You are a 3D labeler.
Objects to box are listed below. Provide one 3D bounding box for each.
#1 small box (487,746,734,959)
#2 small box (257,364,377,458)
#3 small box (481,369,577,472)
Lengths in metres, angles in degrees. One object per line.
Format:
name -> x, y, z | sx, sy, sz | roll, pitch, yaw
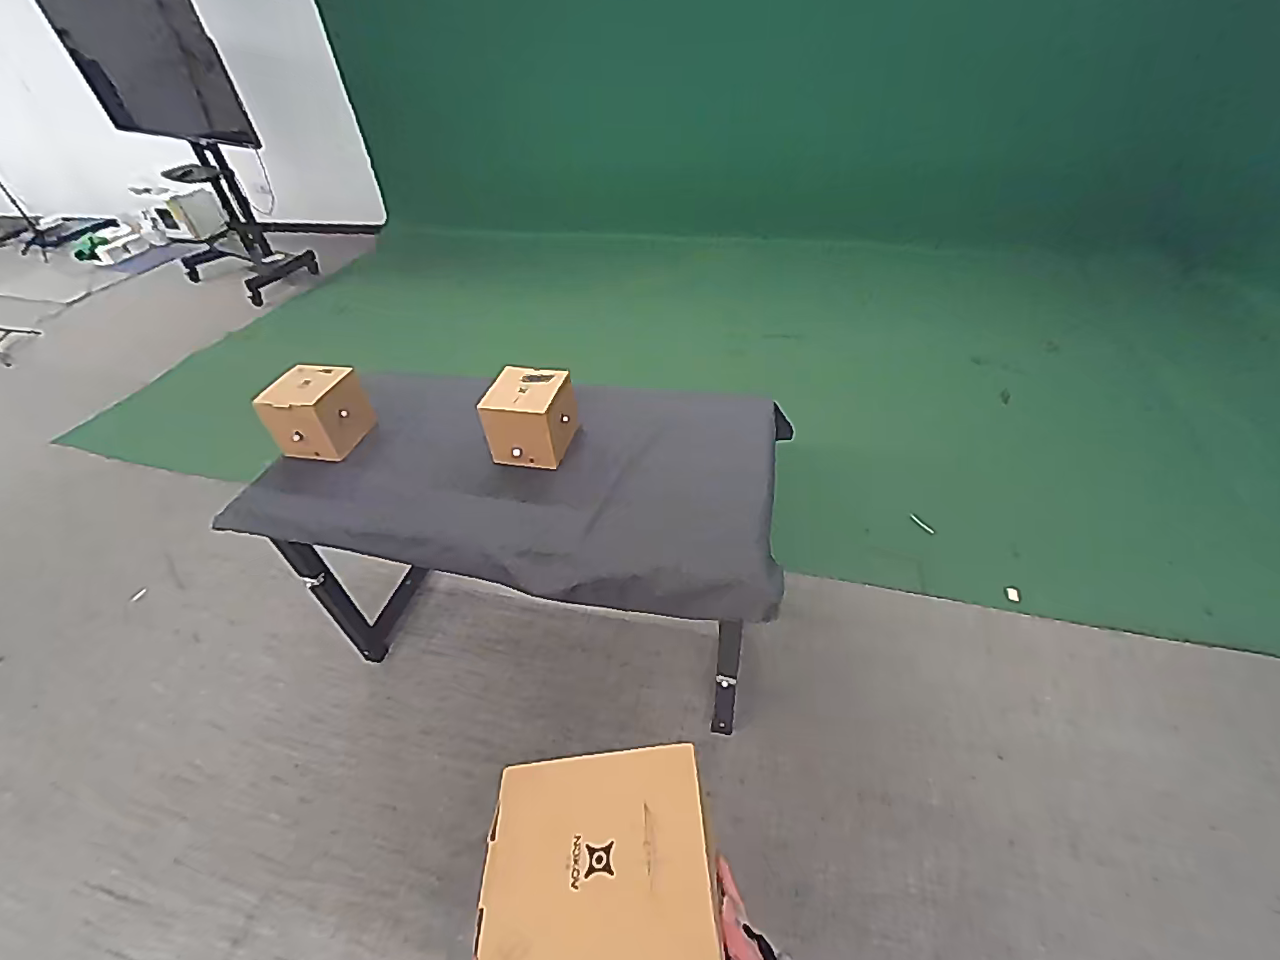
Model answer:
small box -> -0.016, 0.364, 0.474 | 0.179, 0.176, 0.168 | -8, 37, 2
small box -> -0.805, -0.174, 1.374 | 0.168, 0.176, 0.179 | 6, 44, 9
small box -> -0.258, -0.145, 1.311 | 0.168, 0.176, 0.179 | 7, 45, 11
